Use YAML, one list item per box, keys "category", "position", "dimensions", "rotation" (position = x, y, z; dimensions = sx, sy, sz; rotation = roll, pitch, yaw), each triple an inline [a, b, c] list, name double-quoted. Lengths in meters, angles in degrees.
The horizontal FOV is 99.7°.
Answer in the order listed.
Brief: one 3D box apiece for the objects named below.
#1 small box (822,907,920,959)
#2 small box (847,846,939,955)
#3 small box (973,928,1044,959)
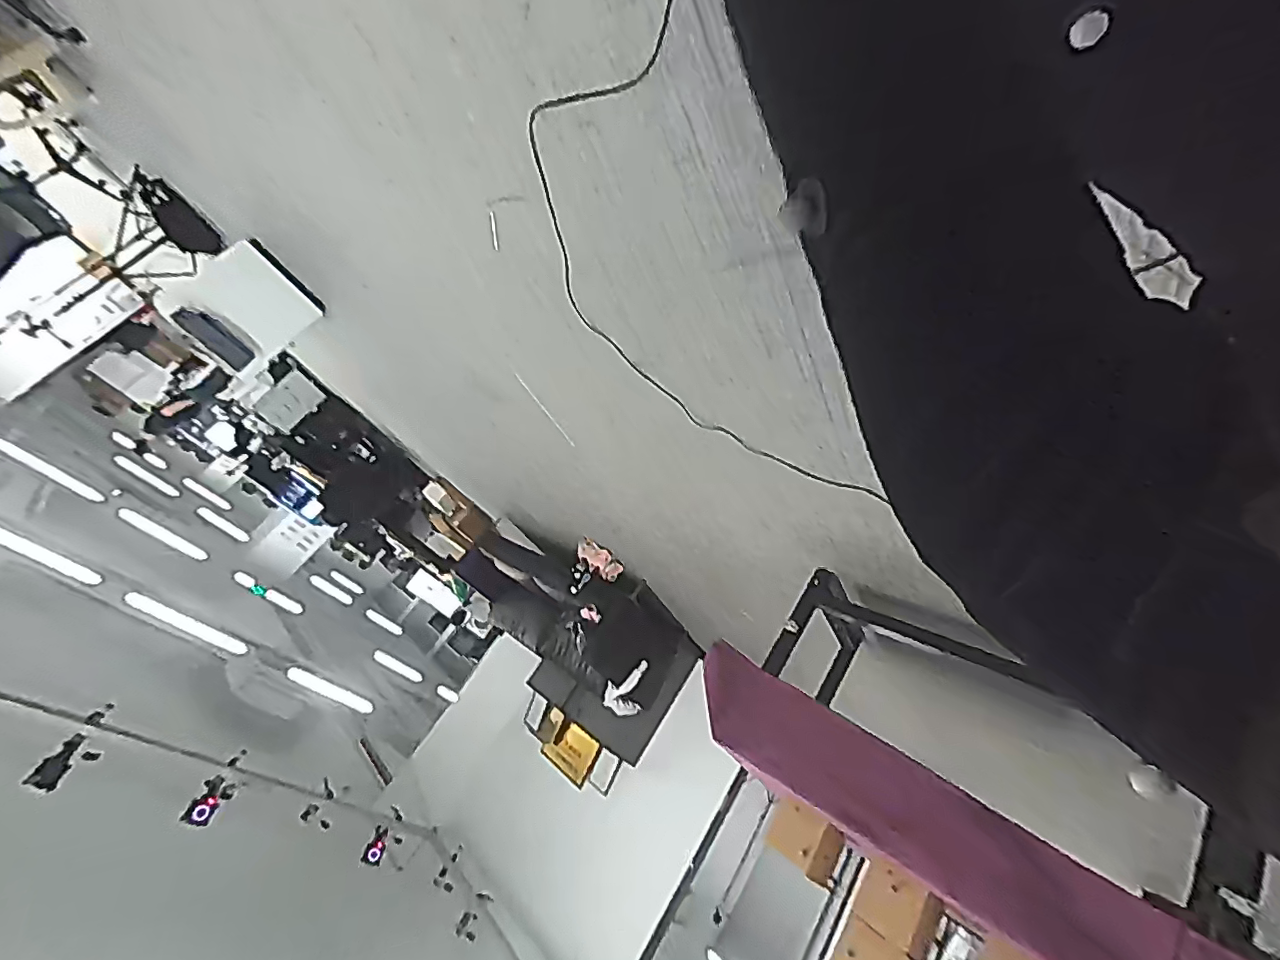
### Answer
- category: "small box"
  position: [0.643, 1.329, 1.501]
  dimensions: [0.179, 0.176, 0.168]
  rotation: [11, 149, 49]
- category: "small box"
  position: [0.735, 1.207, 1.561]
  dimensions: [0.168, 0.176, 0.179]
  rotation: [10, 146, 51]
- category: "small box"
  position: [0.934, 1.260, 1.344]
  dimensions: [0.179, 0.176, 0.168]
  rotation: [15, 151, 47]
